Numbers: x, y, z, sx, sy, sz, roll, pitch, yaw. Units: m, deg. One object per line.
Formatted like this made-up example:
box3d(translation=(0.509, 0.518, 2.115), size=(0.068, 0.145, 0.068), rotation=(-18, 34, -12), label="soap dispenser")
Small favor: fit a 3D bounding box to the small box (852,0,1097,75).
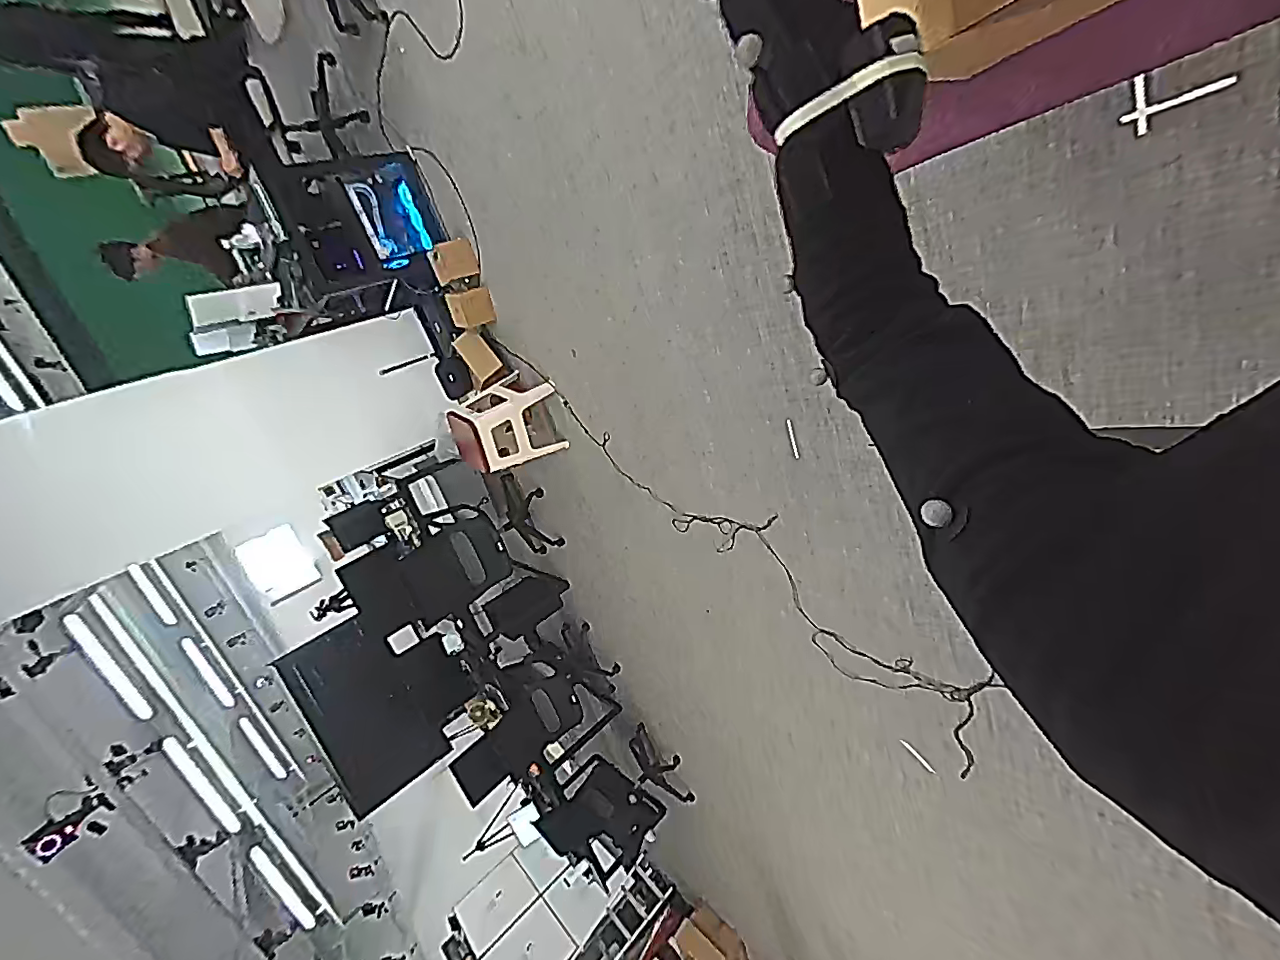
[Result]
box3d(translation=(0.262, -0.415, 0.373), size=(0.179, 0.176, 0.168), rotation=(2, 117, 52), label="small box")
